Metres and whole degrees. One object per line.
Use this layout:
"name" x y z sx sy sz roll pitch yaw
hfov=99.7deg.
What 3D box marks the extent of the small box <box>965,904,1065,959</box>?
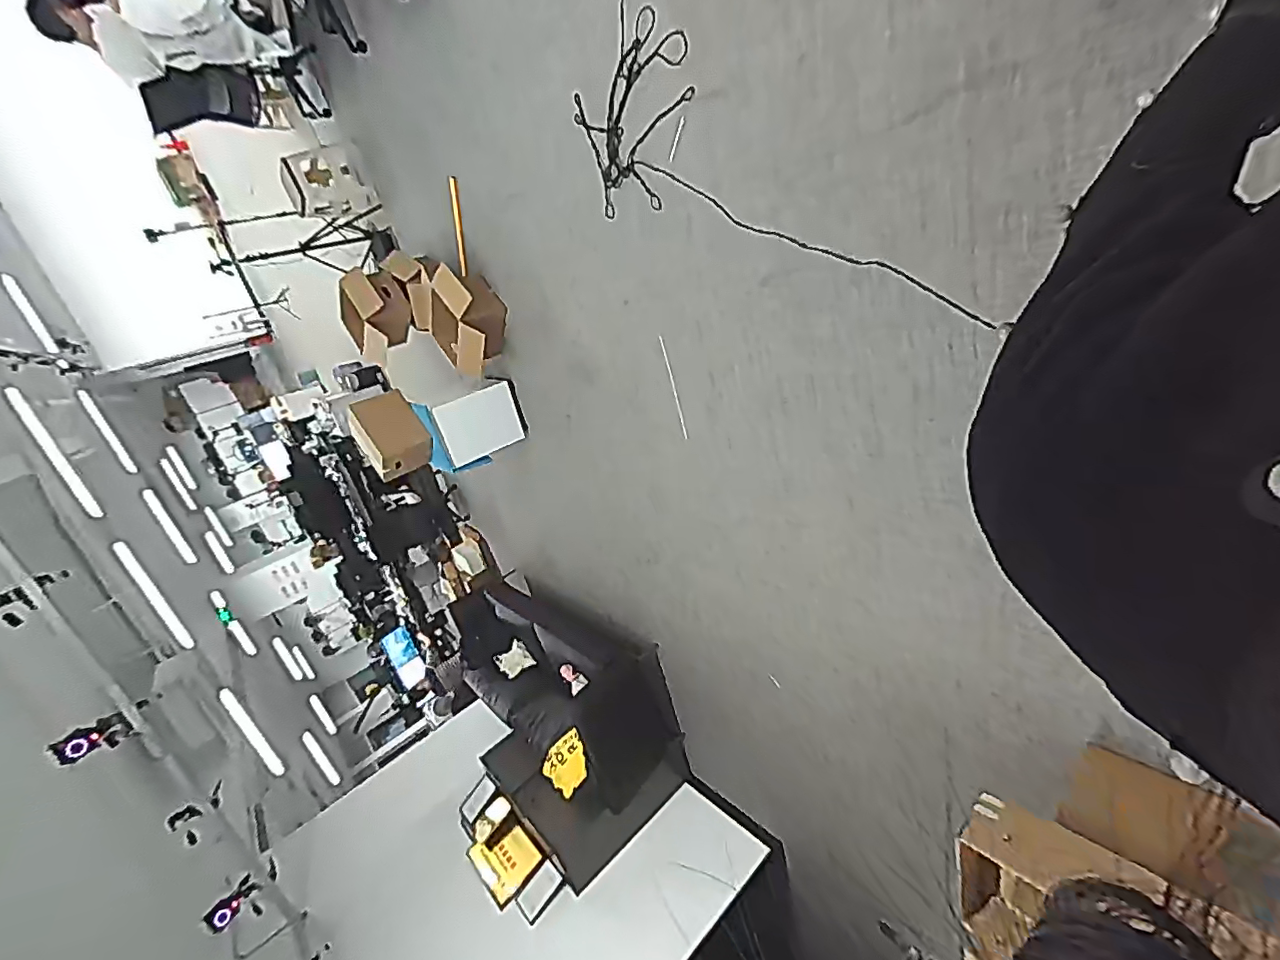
"small box" 0.893 1.183 1.296 0.168 0.176 0.179 21 130 47
